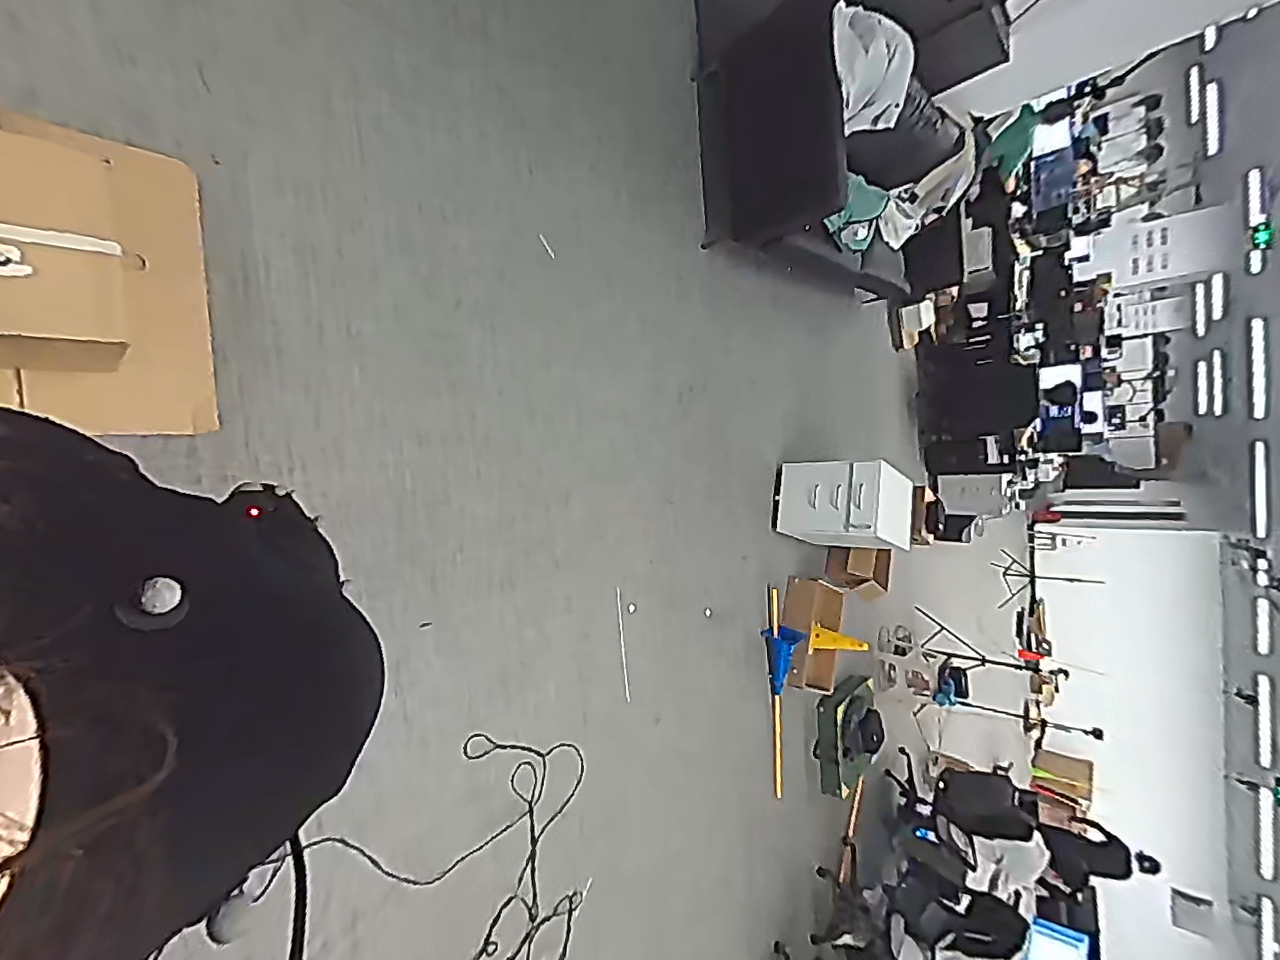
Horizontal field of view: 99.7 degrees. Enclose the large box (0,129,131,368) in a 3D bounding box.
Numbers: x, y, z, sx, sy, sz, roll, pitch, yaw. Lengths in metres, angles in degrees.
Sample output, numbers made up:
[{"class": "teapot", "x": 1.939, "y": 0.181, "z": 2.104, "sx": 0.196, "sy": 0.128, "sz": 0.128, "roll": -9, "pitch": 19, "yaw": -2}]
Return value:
[{"class": "large box", "x": -1.119, "y": -0.361, "z": 0.854, "sx": 0.408, "sy": 0.320, "sz": 0.320, "roll": -9, "pitch": 96, "yaw": -49}]
